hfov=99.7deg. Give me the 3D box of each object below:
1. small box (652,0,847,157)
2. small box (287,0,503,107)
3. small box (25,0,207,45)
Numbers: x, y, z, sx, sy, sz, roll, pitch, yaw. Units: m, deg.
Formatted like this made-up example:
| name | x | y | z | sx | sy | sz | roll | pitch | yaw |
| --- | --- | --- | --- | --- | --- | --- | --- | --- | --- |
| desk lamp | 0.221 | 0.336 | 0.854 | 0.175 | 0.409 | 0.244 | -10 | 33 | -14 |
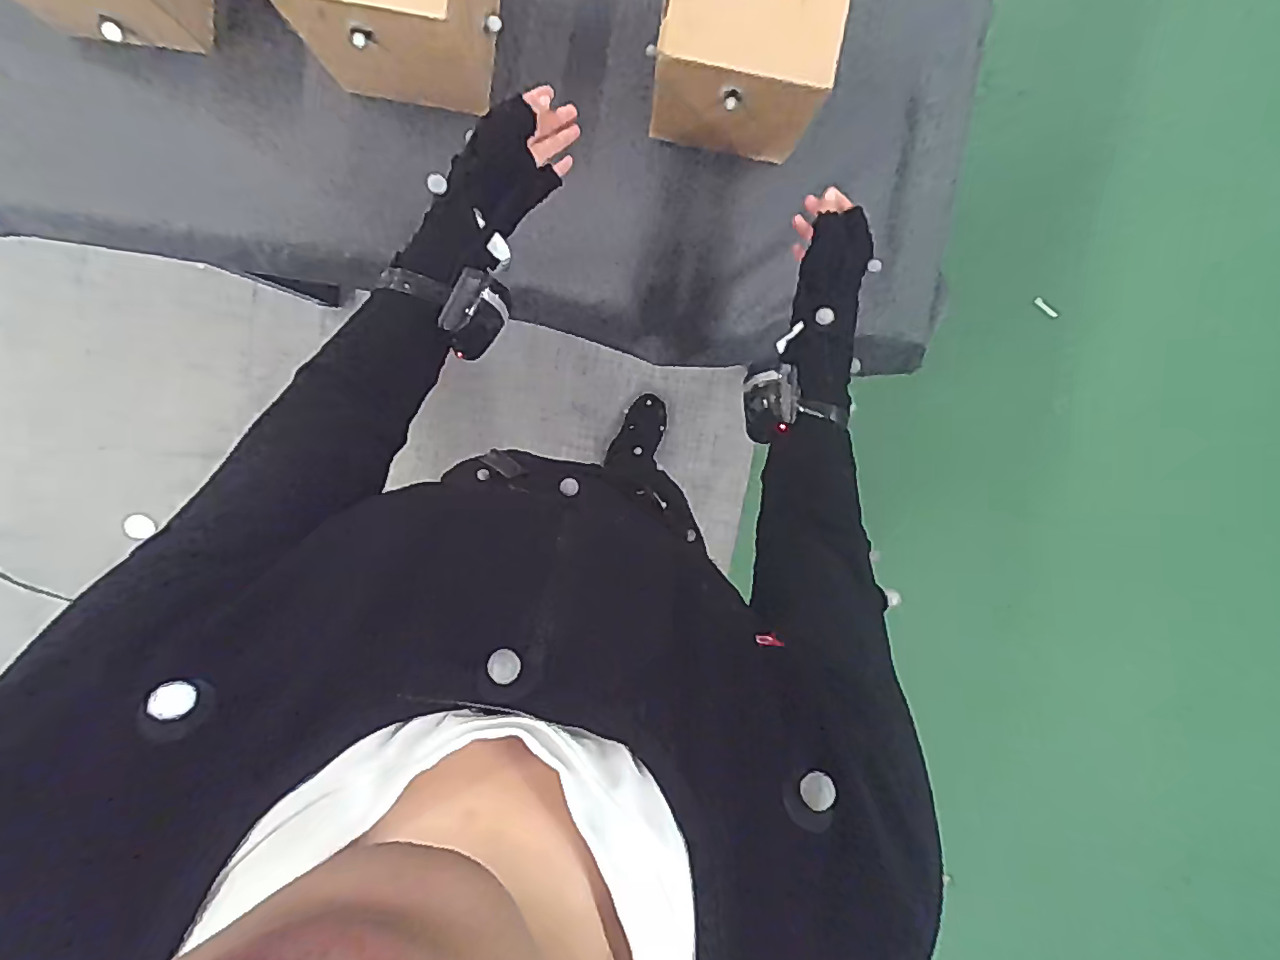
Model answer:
| name | x | y | z | sx | sy | sz | roll | pitch | yaw |
| --- | --- | --- | --- | --- | --- | --- | --- | --- | --- |
| small box | 0.112 | -0.489 | 0.597 | 0.179 | 0.176 | 0.168 | 9 | 97 | -4 |
| small box | -0.258 | -0.537 | 0.576 | 0.179 | 0.176 | 0.168 | 8 | 97 | -3 |
| small box | -0.587 | -0.597 | 0.558 | 0.179 | 0.176 | 0.168 | 5 | 97 | -3 |
